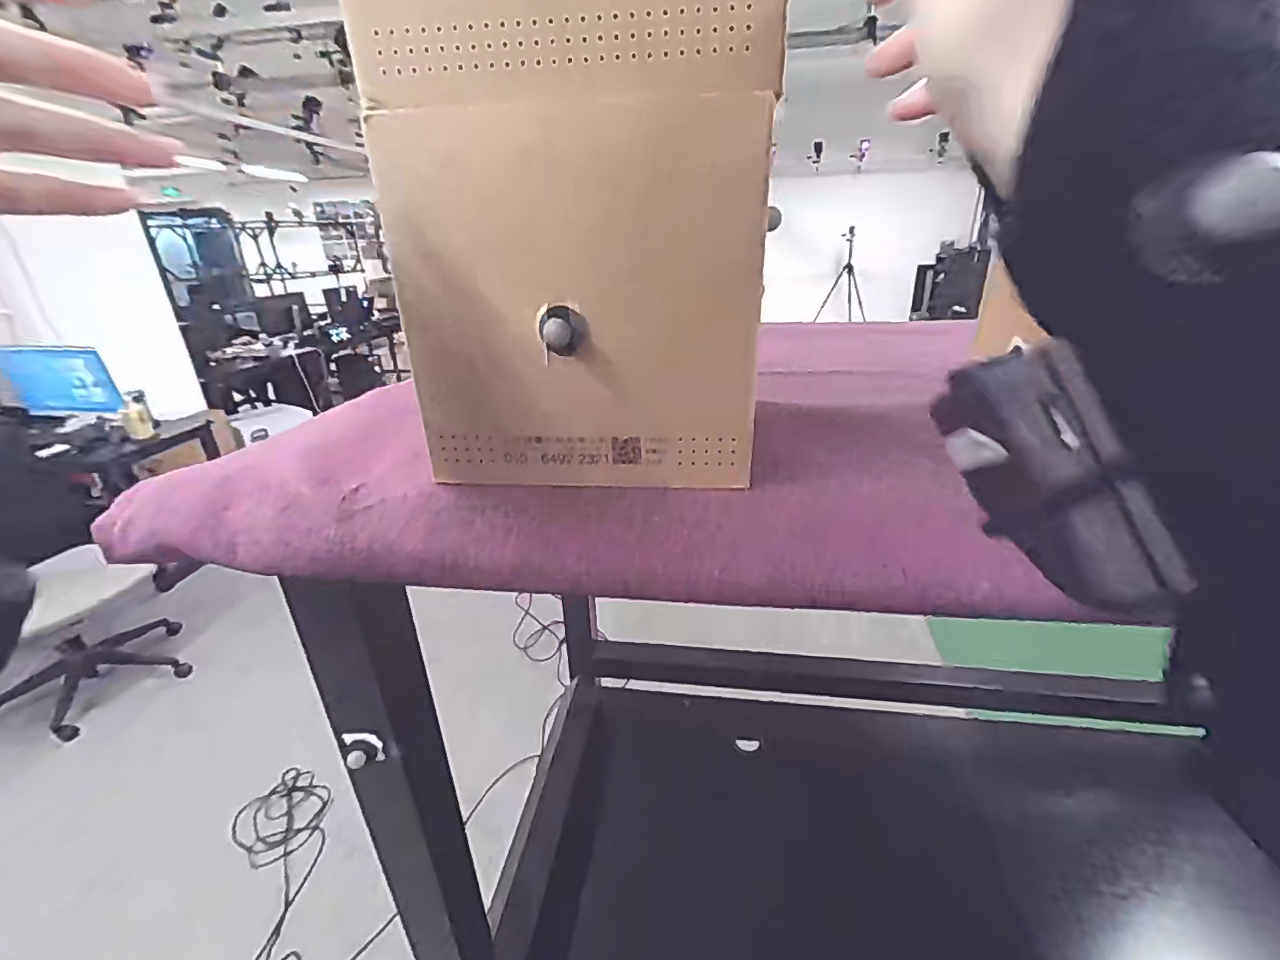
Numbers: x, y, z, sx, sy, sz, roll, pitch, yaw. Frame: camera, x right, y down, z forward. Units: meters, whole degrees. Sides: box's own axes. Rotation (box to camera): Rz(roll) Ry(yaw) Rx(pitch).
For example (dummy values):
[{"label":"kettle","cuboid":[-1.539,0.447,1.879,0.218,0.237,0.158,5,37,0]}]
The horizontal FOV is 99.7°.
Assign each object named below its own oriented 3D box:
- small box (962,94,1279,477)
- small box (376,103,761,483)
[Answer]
[{"label":"small box","cuboid":[0.321,-0.105,0.311,0.179,0.176,0.168,0,23,7]},{"label":"small box","cuboid":[-0.021,-0.106,0.327,0.168,0.176,0.179,2,24,5]}]
